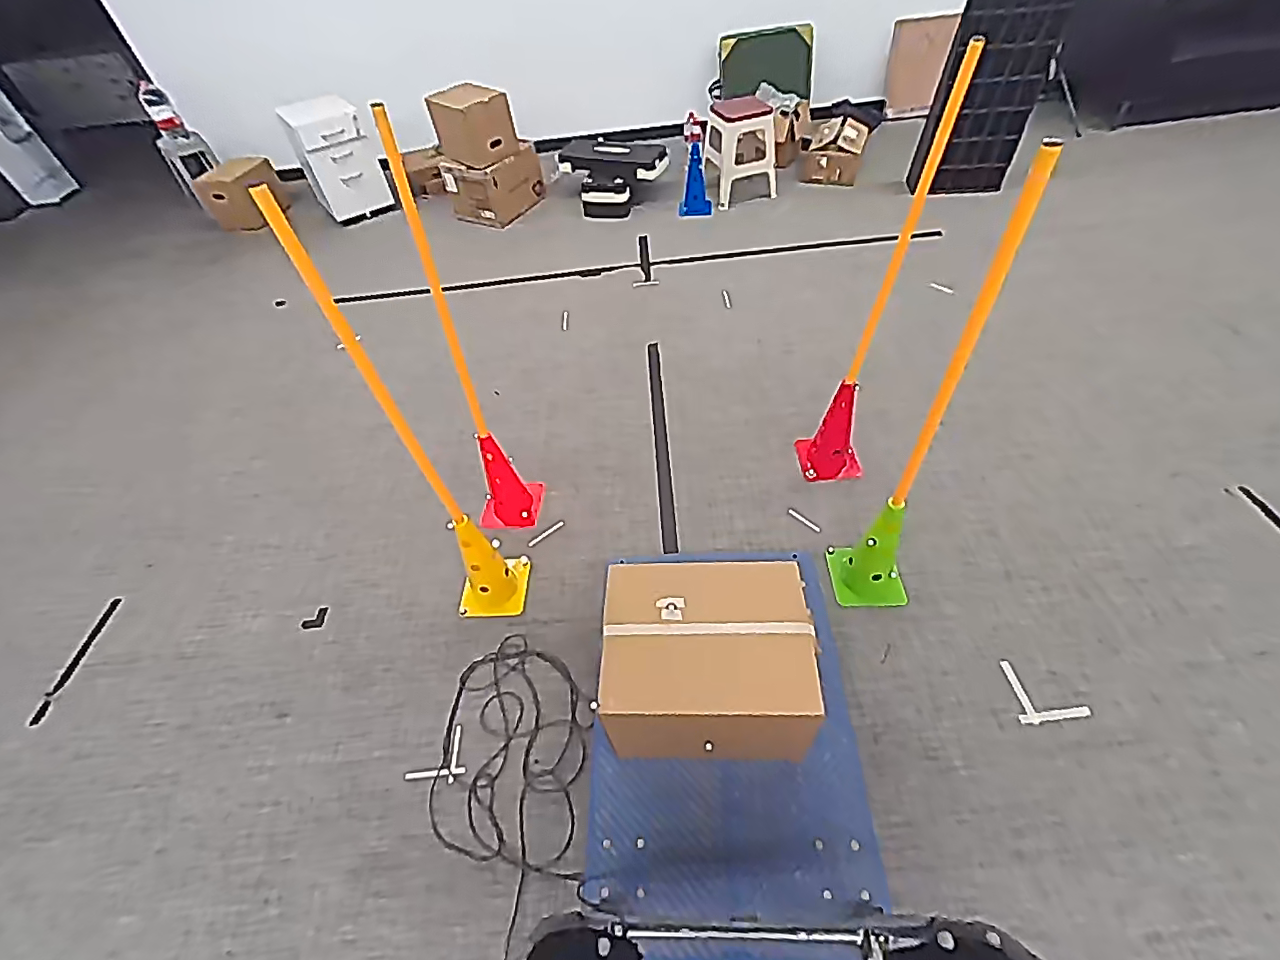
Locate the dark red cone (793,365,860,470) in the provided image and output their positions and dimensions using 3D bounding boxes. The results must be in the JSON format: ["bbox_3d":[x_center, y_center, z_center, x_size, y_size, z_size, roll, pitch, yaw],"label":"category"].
[{"bbox_3d":[0.654,-0.214,1.802,0.201,0.394,0.202,-4,50,0],"label":"dark red cone"}]

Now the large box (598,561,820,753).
[{"bbox_3d":[0.139,0.393,1.174,0.408,0.320,0.320,-2,50,5],"label":"large box"}]

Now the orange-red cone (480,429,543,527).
[{"bbox_3d":[-0.465,-0.030,1.793,0.198,0.360,0.199,1,48,6],"label":"orange-red cone"}]

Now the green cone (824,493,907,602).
[{"bbox_3d":[0.660,0.166,1.500,0.202,0.368,0.200,-2,50,3],"label":"green cone"}]
